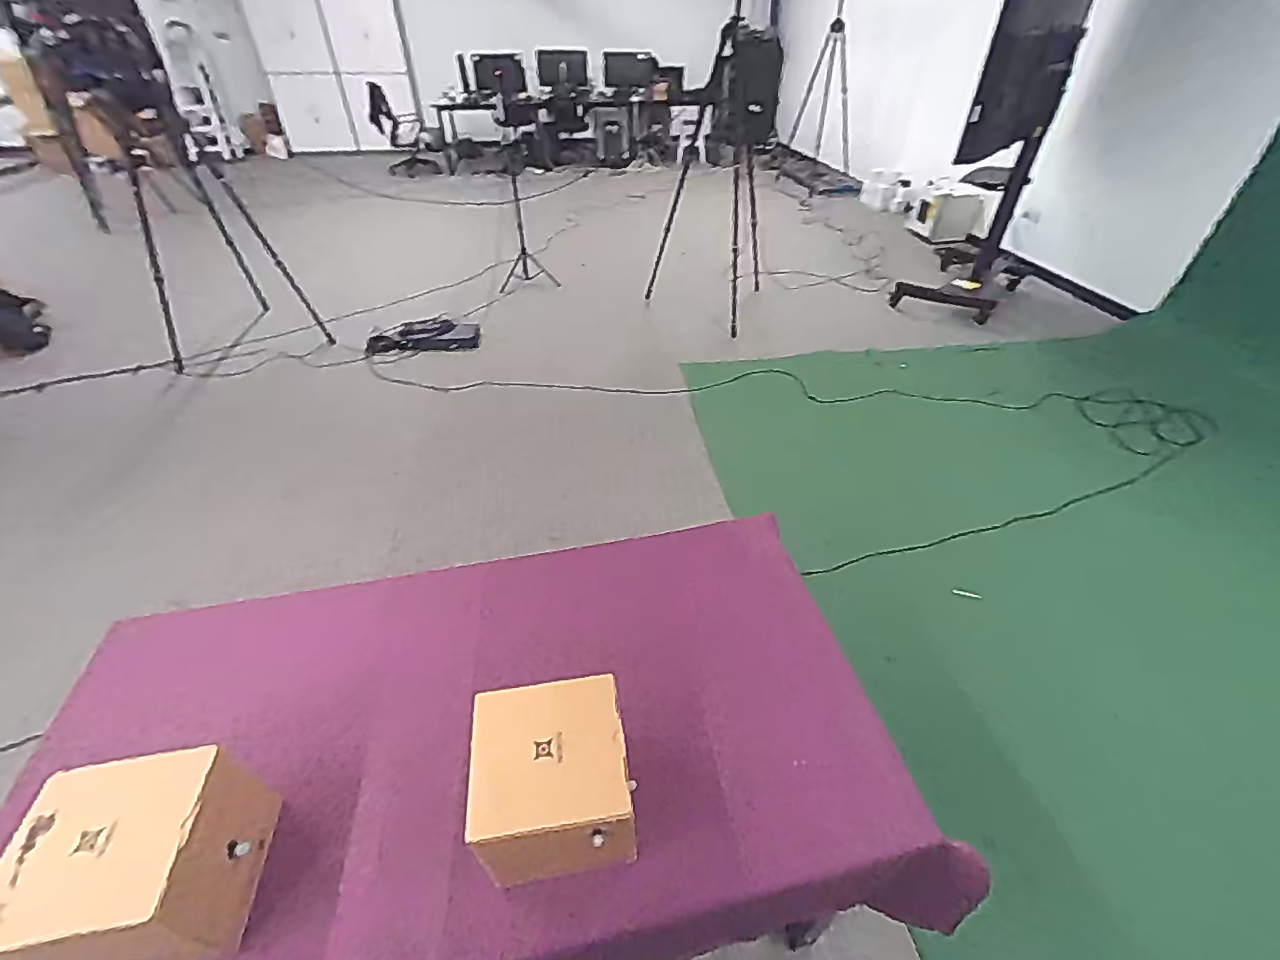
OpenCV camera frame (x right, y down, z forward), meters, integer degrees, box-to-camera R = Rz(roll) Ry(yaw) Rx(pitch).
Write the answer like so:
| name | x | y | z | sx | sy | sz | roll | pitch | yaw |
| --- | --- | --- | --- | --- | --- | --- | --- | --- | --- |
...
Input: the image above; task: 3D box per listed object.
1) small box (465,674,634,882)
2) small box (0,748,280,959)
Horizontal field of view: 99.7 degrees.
| name | x | y | z | sx | sy | sz | roll | pitch | yaw |
| --- | --- | --- | --- | --- | --- | --- | --- | --- | --- |
| small box | -0.105 | 0.371 | 0.674 | 0.179 | 0.176 | 0.168 | -6 | 40 | -7 |
| small box | -0.549 | 0.431 | 0.608 | 0.179 | 0.176 | 0.168 | -6 | 40 | -8 |
